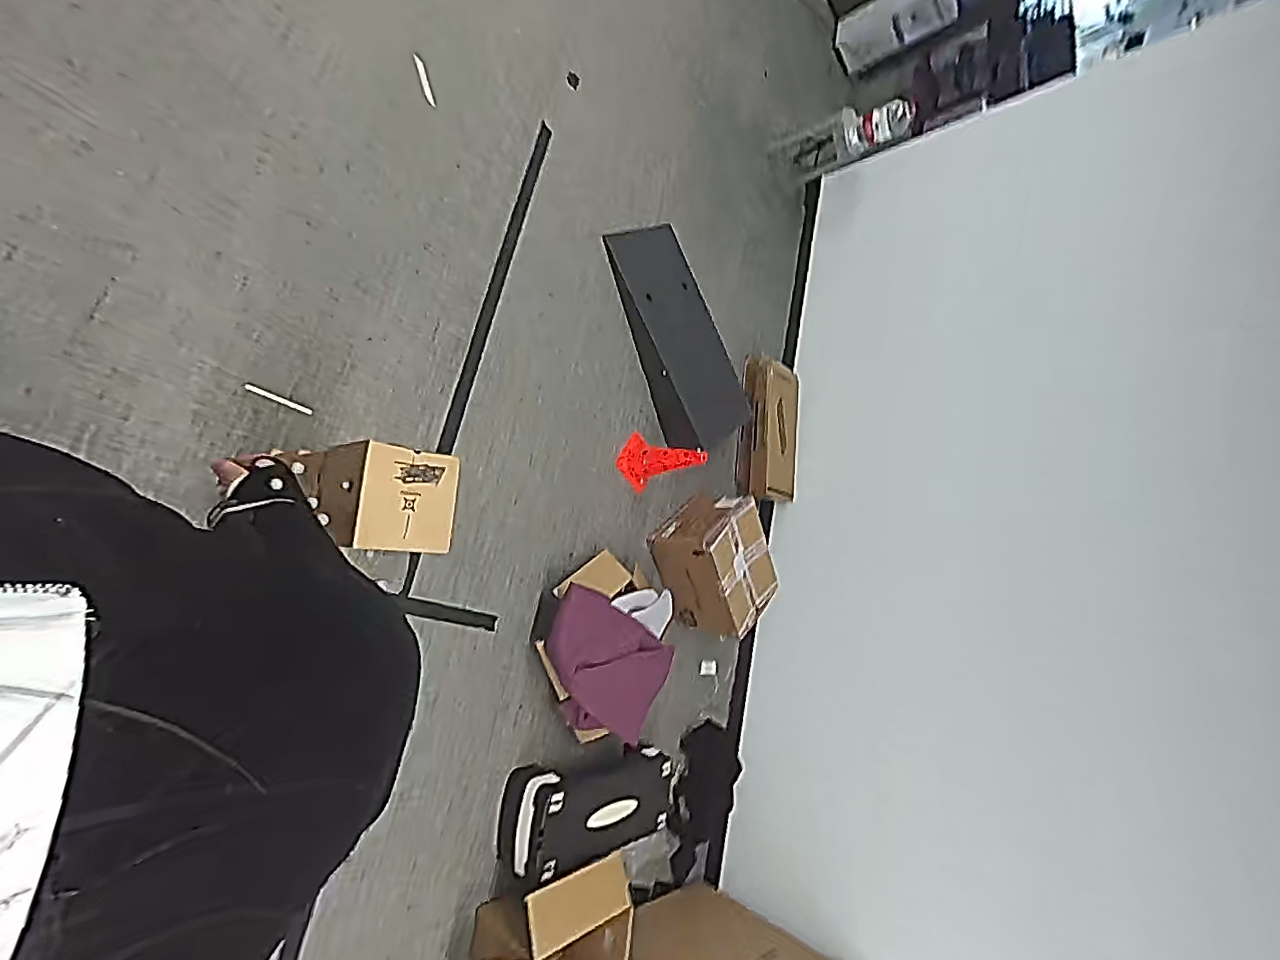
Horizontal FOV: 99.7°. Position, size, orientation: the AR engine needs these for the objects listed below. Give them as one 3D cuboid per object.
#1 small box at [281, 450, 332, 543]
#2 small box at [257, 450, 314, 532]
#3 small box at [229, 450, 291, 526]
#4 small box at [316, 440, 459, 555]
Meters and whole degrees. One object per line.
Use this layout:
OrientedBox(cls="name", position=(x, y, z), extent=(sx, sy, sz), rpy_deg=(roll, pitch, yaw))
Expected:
OrientedBox(cls="small box", position=(-0.576, 0.044, 1.062), extent=(0.179, 0.176, 0.168), rpy_deg=(15, 77, -47))
OrientedBox(cls="small box", position=(-0.694, 0.038, 1.176), extent=(0.179, 0.176, 0.168), rpy_deg=(18, 74, -47))
OrientedBox(cls="small box", position=(-0.826, 0.036, 1.276), extent=(0.179, 0.176, 0.168), rpy_deg=(24, 70, -45))
OrientedBox(cls="small box", position=(-0.448, 0.037, 0.957), extent=(0.168, 0.176, 0.179), rpy_deg=(14, 78, -48))
